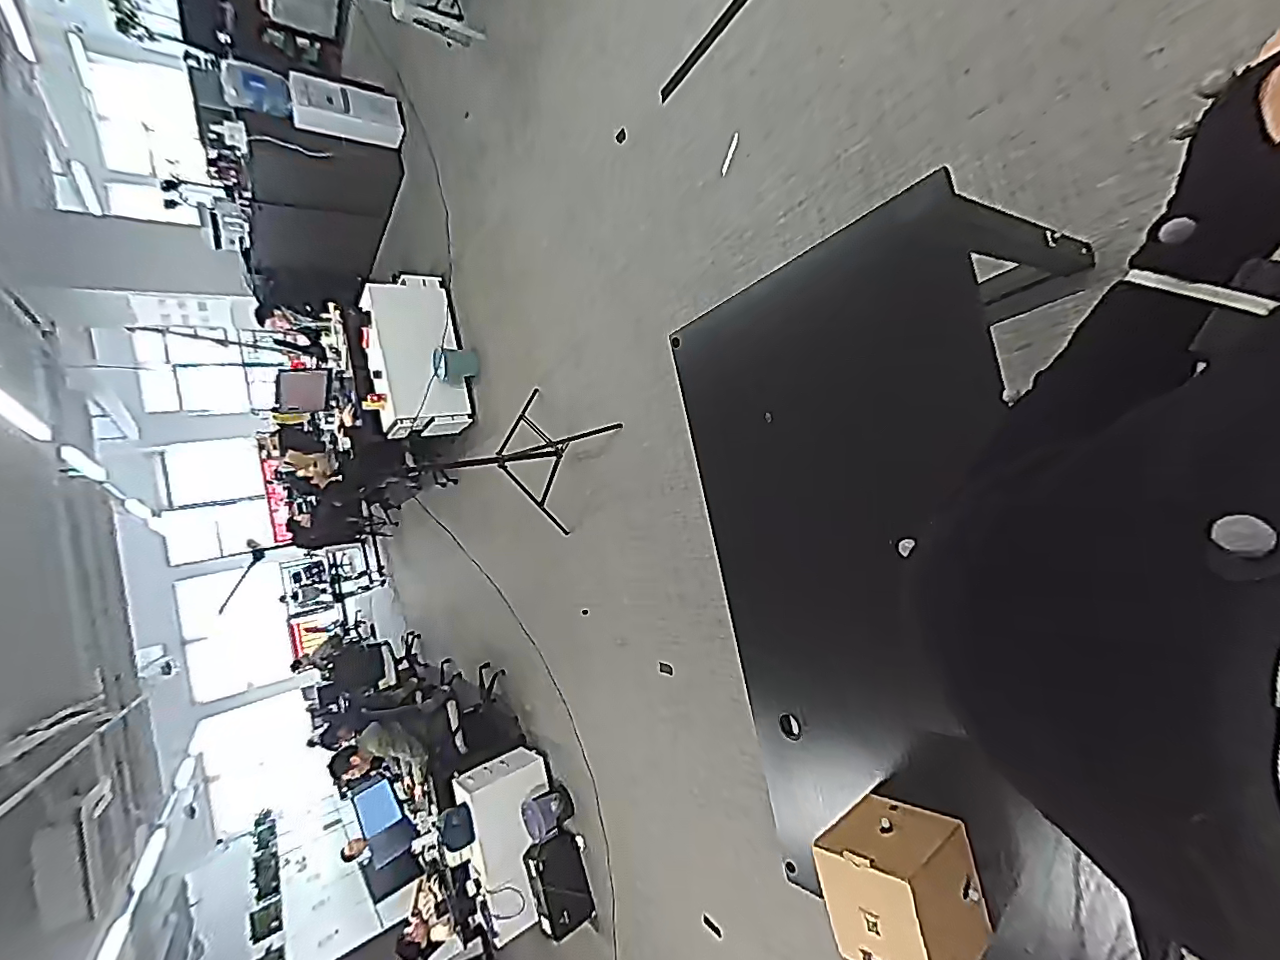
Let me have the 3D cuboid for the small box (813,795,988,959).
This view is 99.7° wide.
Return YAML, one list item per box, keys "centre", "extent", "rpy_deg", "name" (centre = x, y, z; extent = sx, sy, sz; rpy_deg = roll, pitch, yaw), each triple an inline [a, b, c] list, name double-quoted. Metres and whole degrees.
- centre: [0.403, 0.628, 0.840]
  extent: [0.168, 0.176, 0.179]
  rpy_deg: [-20, 82, 53]
  name: "small box"
